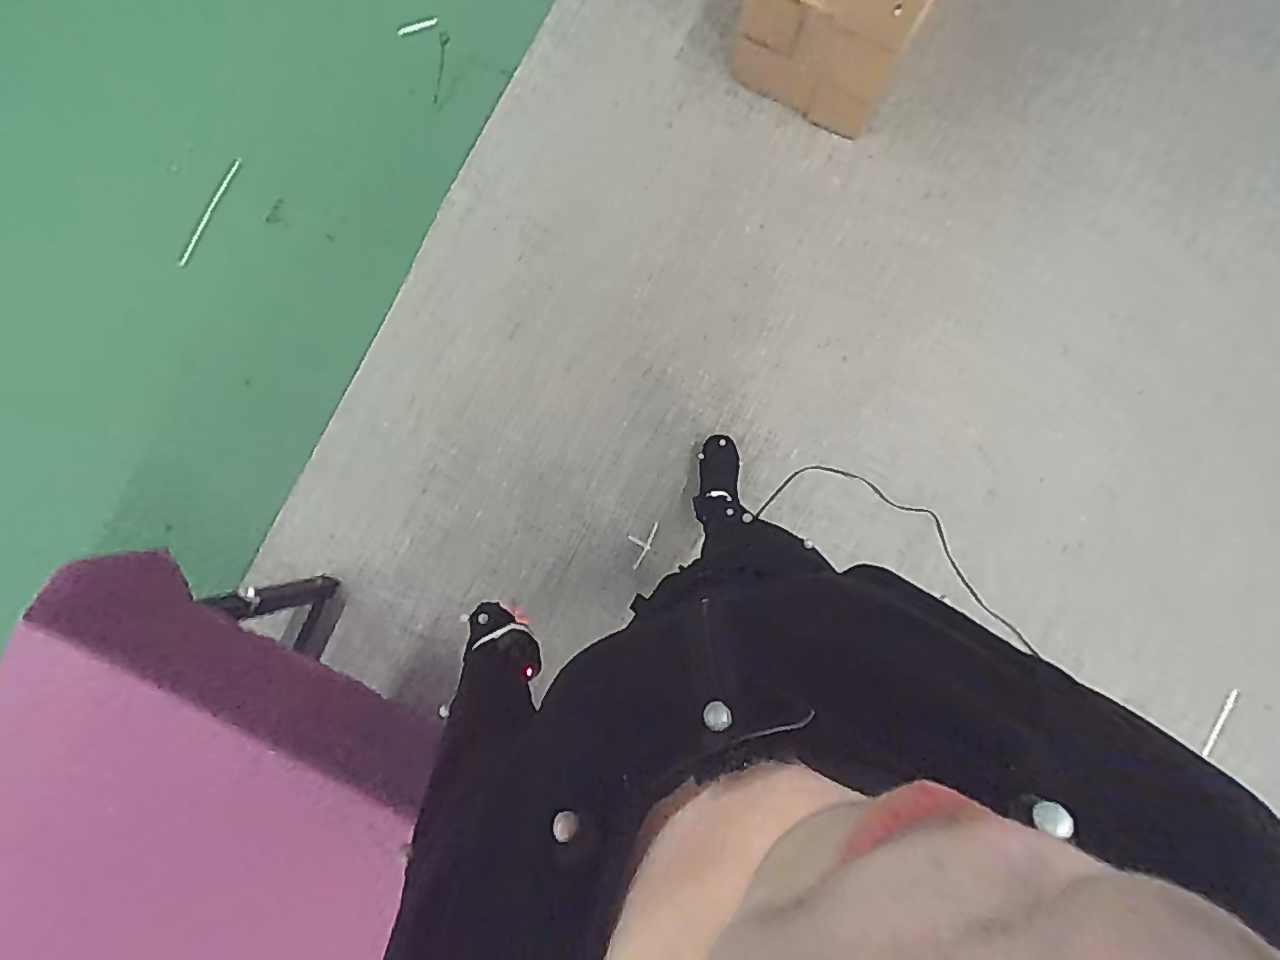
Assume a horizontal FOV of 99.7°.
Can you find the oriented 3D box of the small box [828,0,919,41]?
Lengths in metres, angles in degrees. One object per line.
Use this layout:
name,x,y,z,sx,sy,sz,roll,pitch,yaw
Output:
small box,0.532,-1.093,1.149,0.179,0.176,0.168,28,87,5
